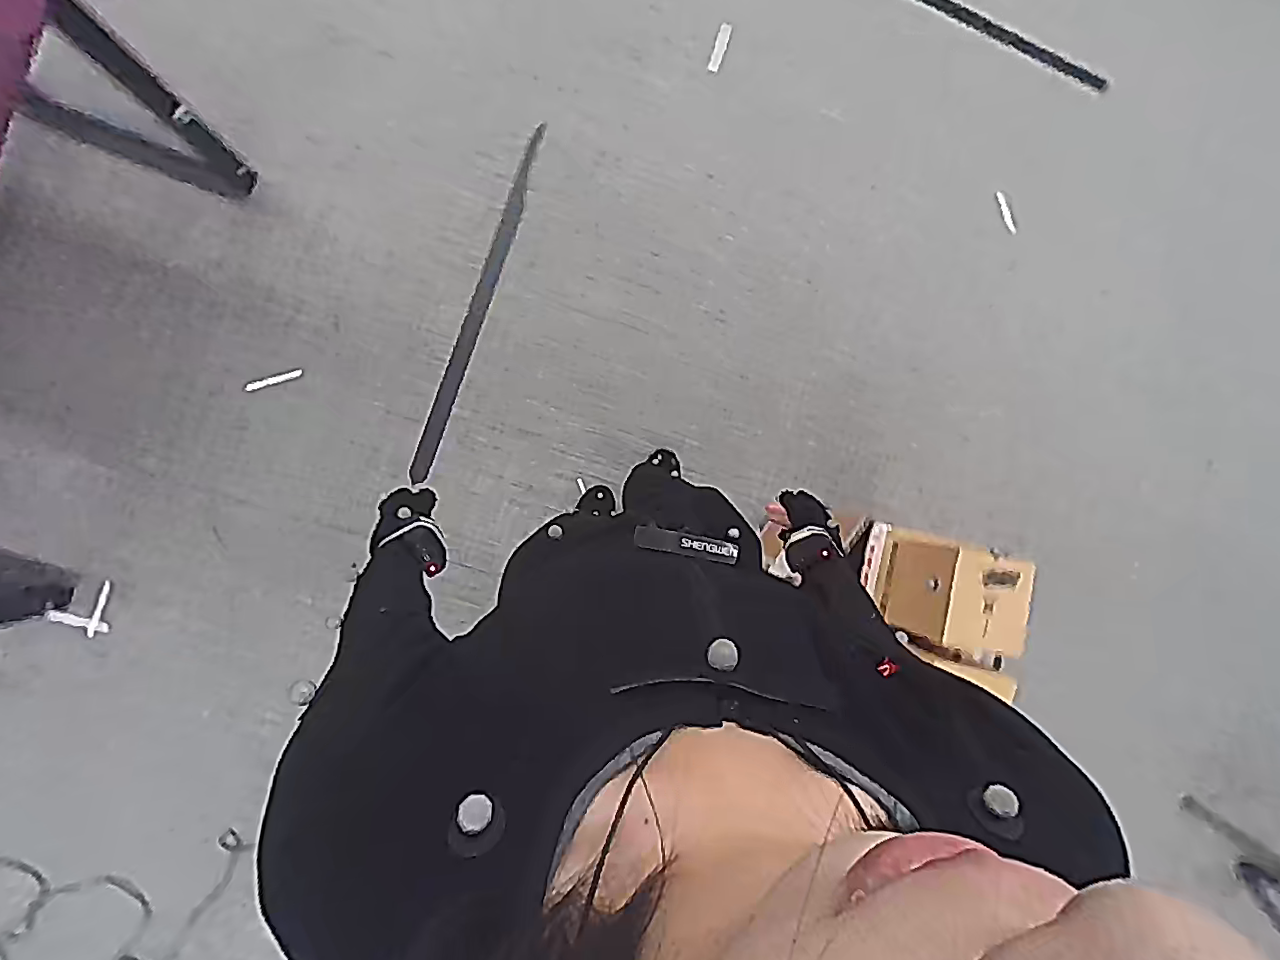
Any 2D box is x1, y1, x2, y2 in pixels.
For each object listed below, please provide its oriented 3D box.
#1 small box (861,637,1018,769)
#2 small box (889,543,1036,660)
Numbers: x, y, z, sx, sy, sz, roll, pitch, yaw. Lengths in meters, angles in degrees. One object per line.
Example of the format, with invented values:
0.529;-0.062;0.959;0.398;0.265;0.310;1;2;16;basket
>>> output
0.564;0.416;1.036;0.179;0.176;0.168;15;90;-10;small box
0.610;0.224;1.042;0.168;0.176;0.179;12;87;-9;small box
